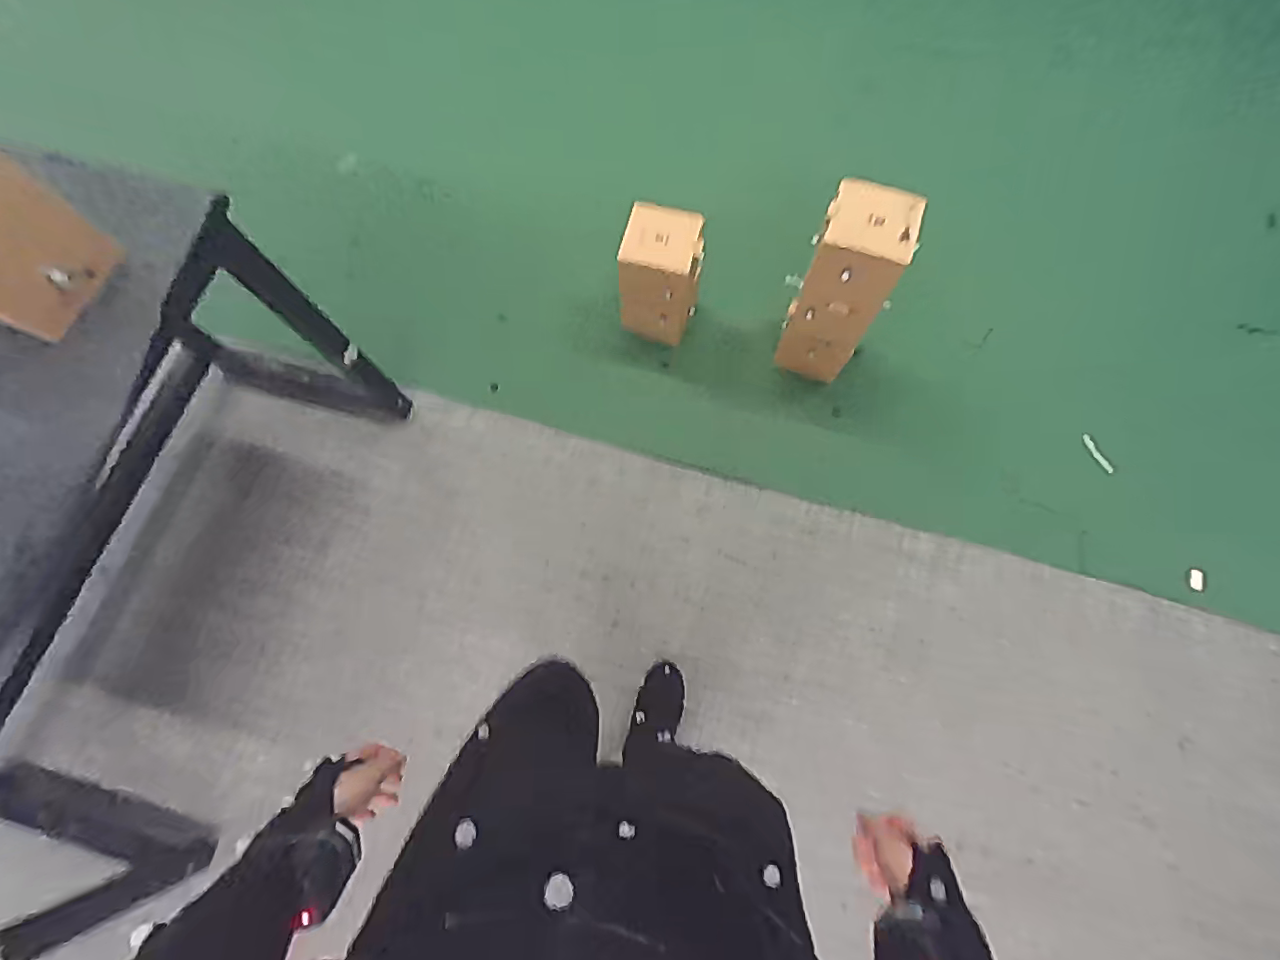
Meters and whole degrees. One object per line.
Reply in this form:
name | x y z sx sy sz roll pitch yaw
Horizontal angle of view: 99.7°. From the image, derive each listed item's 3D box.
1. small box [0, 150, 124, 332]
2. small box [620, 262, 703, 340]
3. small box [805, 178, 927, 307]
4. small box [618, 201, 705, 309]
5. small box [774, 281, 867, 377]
small box | -0.841 -0.315 0.687 0.179 0.176 0.168 20 76 8
small box | 0.059 -0.513 1.500 0.179 0.176 0.168 22 75 7
small box | 0.471 -0.497 1.151 0.179 0.176 0.168 18 74 7
small box | 0.053 -0.549 1.341 0.179 0.176 0.168 13 73 5
small box | 0.485 -0.401 1.465 0.179 0.176 0.168 20 75 6
